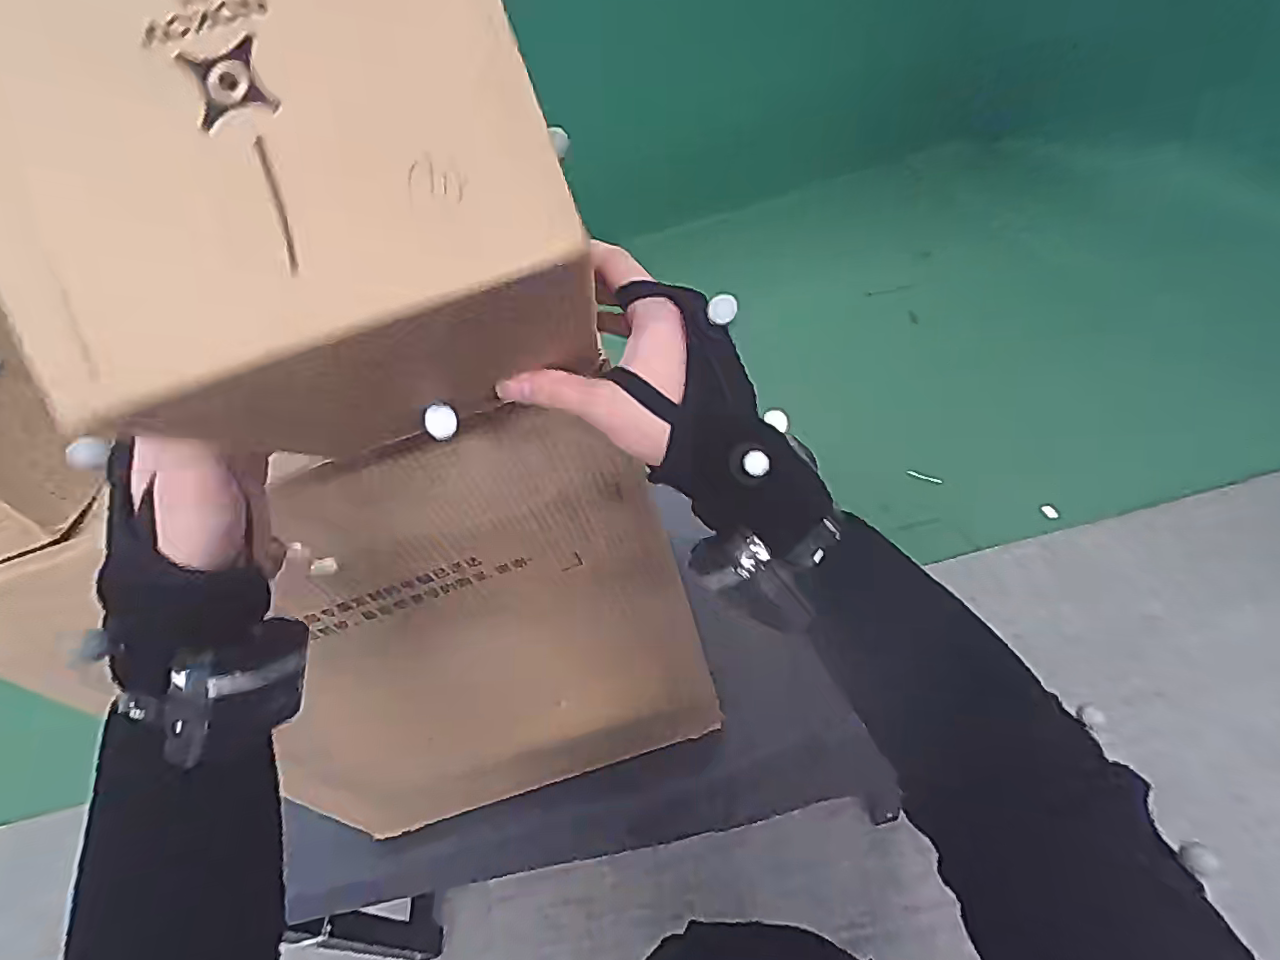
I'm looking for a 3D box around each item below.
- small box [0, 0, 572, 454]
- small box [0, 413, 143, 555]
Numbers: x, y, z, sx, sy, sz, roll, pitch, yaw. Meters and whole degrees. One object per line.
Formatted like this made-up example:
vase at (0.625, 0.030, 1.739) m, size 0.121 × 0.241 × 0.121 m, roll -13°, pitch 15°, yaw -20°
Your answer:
small box at (-0.137, -0.120, 0.238) m, size 0.168 × 0.179 × 0.176 m, roll -20°, pitch 1°, yaw -3°
small box at (-0.504, -0.044, 0.368) m, size 0.168 × 0.176 × 0.179 m, roll -19°, pitch 45°, yaw 1°
